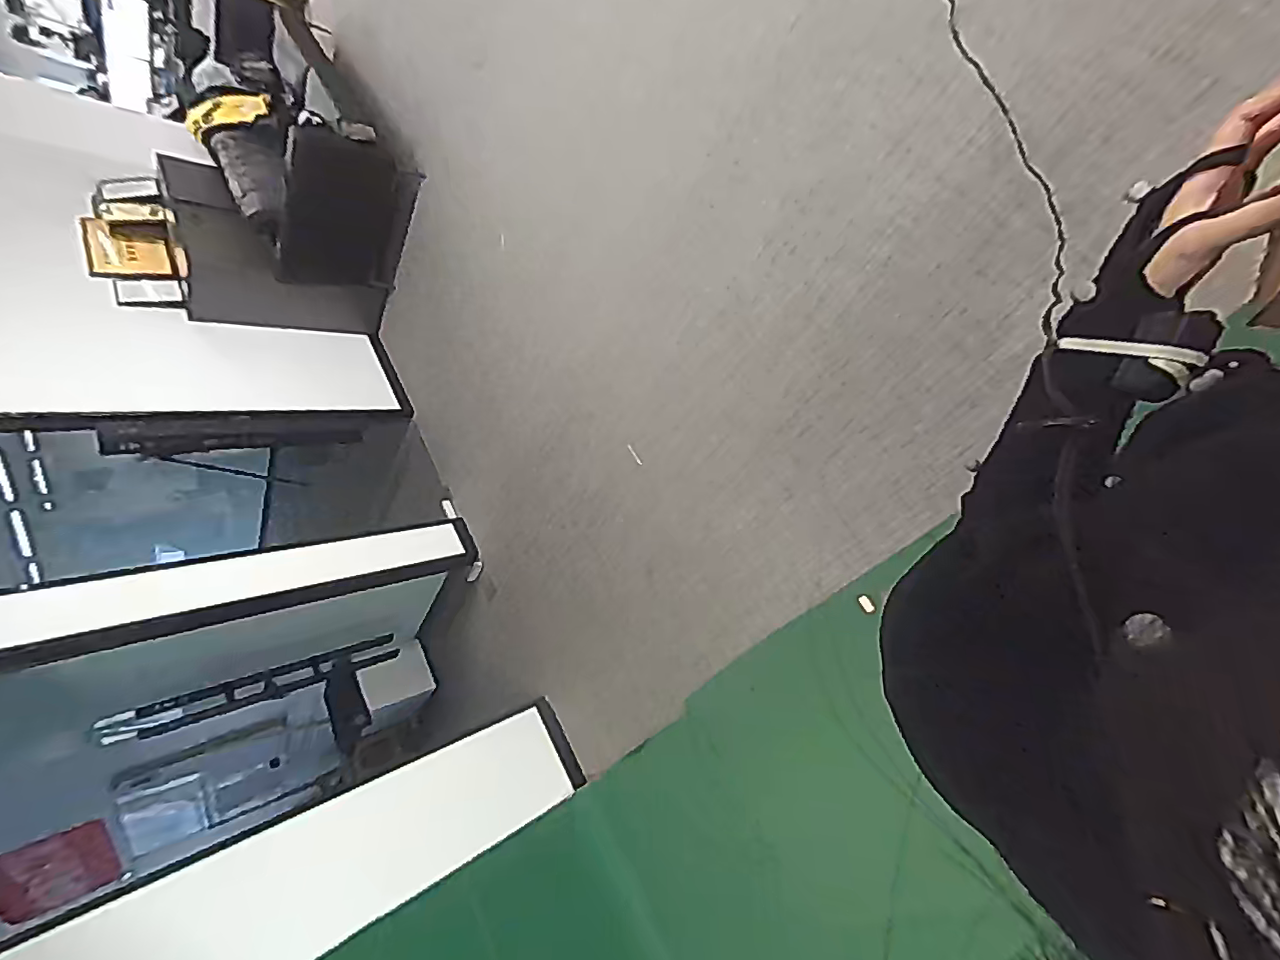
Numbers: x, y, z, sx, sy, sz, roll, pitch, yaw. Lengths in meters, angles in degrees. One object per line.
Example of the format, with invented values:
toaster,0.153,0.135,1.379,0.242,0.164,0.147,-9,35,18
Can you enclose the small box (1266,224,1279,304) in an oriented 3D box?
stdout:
small box,0.470,-0.193,0.269,0.168,0.176,0.179,13,96,38
